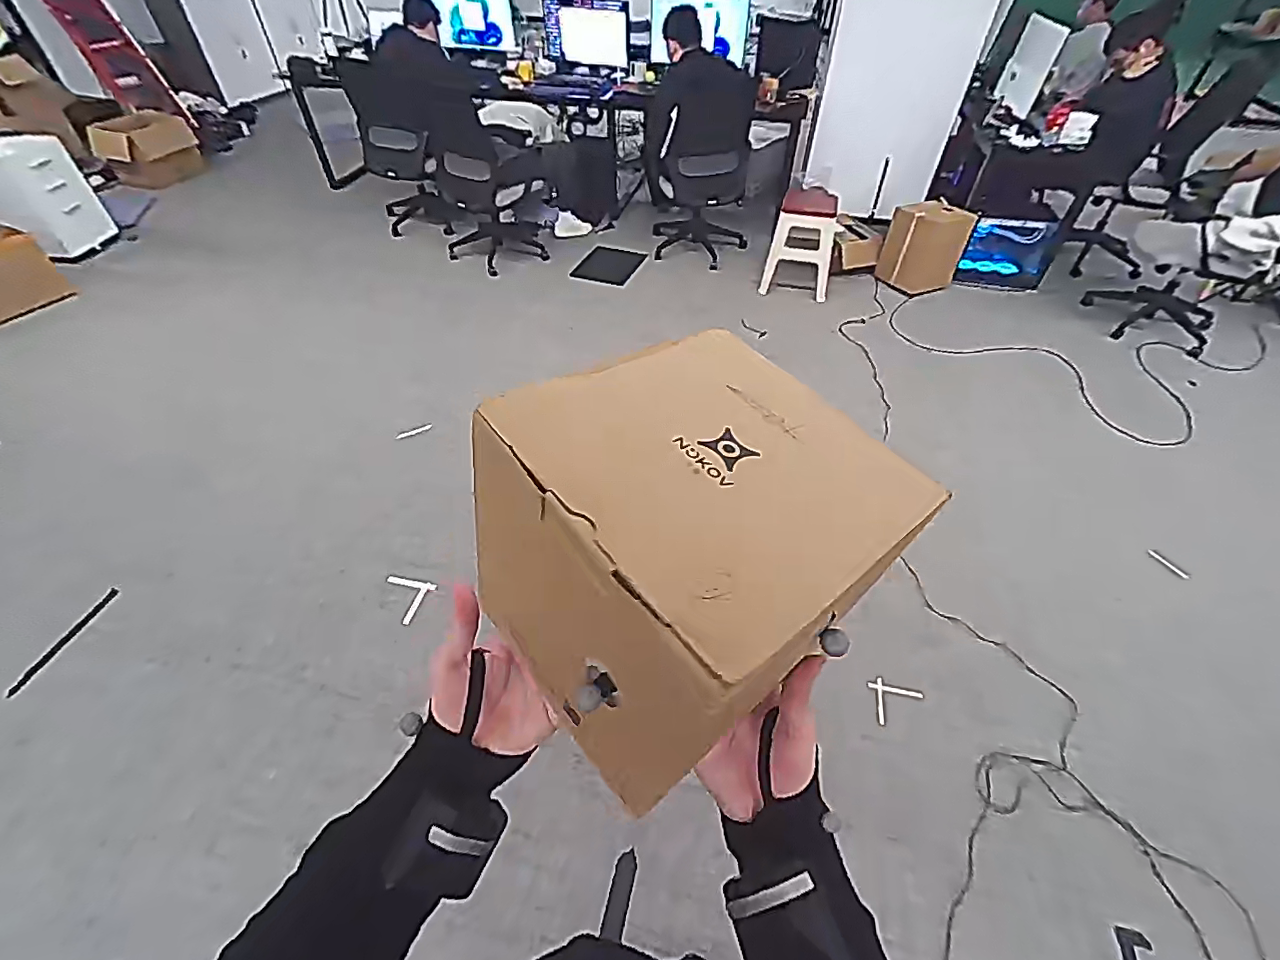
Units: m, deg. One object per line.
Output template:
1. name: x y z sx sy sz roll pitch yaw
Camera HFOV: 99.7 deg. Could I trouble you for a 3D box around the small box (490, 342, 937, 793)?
1. small box: 0.028 0.047 0.326 0.179 0.176 0.168 -27 59 -36
